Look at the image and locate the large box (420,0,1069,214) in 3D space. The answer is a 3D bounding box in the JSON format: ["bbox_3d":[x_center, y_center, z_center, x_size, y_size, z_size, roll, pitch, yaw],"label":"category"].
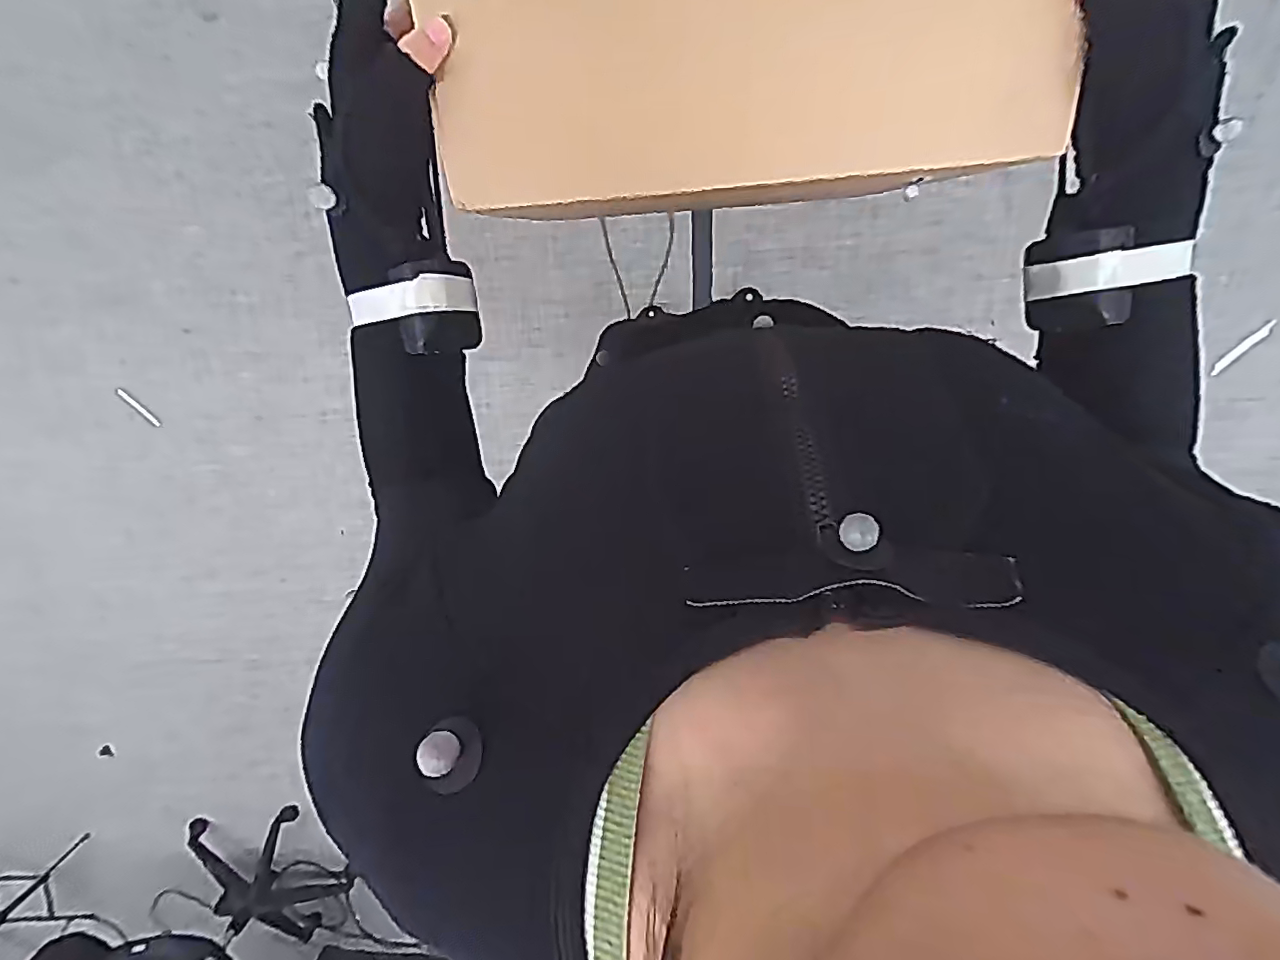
[{"bbox_3d":[0.062,-0.405,0.442,0.408,0.320,0.320,-4,114,2],"label":"large box"}]
